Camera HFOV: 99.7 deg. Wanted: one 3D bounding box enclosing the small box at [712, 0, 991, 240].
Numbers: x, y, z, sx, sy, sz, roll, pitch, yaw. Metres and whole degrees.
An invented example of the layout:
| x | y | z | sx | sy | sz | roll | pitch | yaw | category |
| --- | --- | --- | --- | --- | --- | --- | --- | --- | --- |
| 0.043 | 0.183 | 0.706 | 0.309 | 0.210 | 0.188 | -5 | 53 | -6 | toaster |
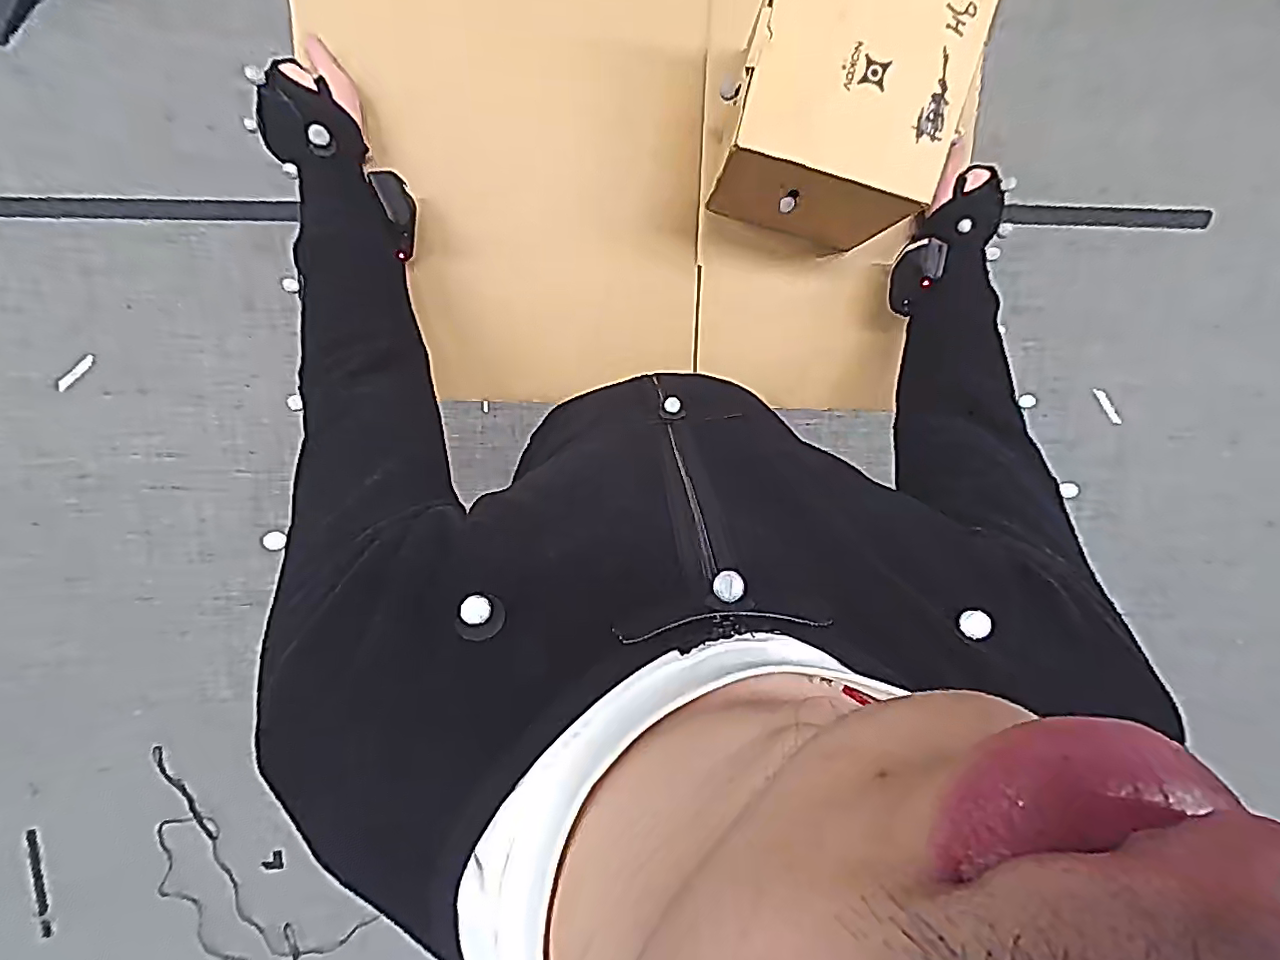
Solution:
| x | y | z | sx | sy | sz | roll | pitch | yaw | category |
| --- | --- | --- | --- | --- | --- | --- | --- | --- | --- |
| 0.178 | -0.351 | 0.518 | 0.179 | 0.176 | 0.168 | 15 | 99 | -3 | small box |
